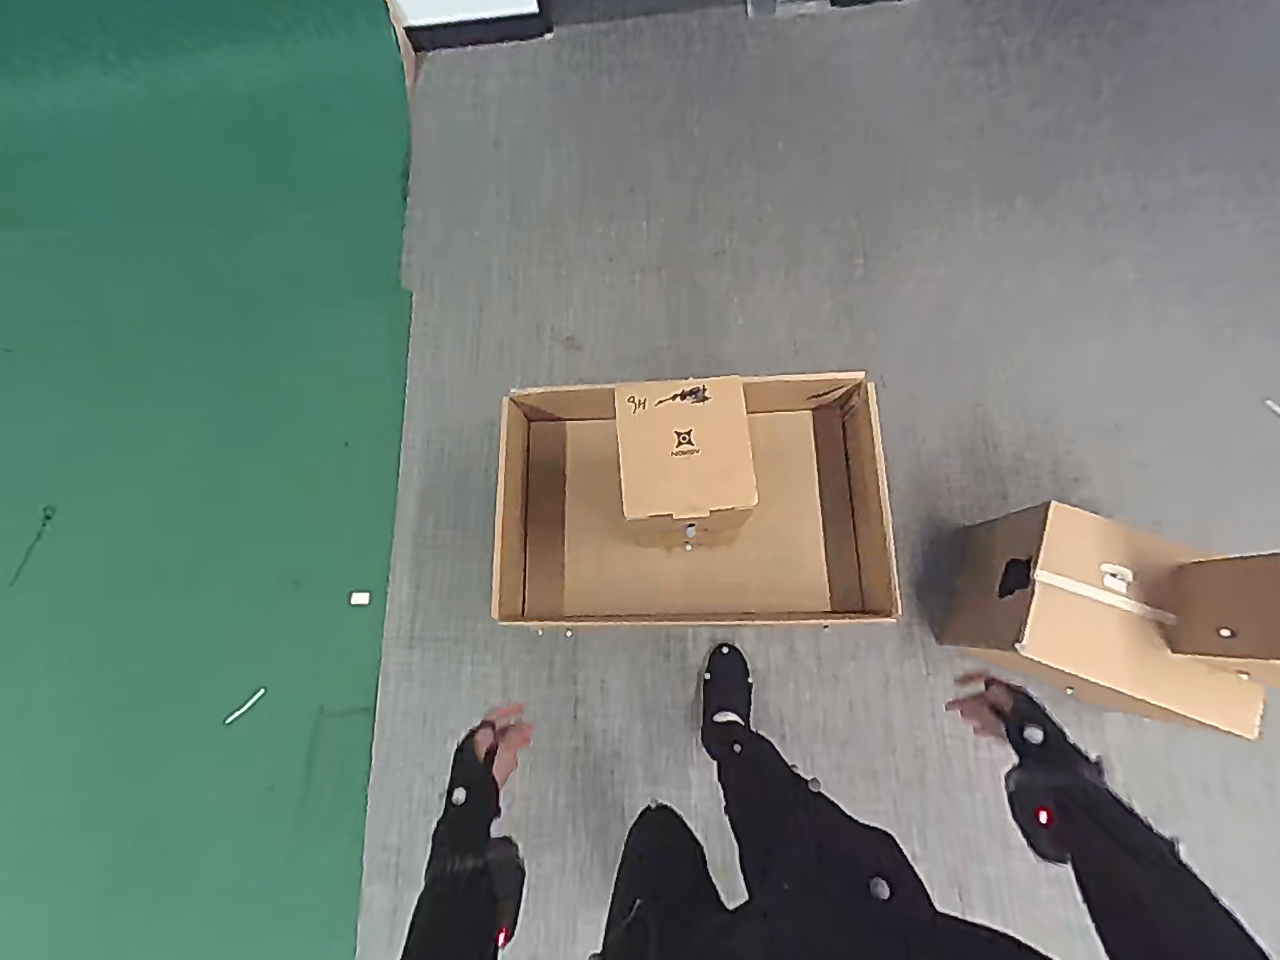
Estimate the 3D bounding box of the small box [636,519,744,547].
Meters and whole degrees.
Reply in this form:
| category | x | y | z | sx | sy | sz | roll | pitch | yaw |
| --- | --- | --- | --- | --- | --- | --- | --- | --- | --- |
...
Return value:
| category | x | y | z | sx | sy | sz | roll | pitch | yaw |
| --- | --- | --- | --- | --- | --- | --- | --- | --- | --- |
| small box | 0.079 | 0.013 | 0.908 | 0.168 | 0.176 | 0.179 | -3 | 76 | 4 |

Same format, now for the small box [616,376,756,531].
| category | x | y | z | sx | sy | sz | roll | pitch | yaw |
| --- | --- | --- | --- | --- | --- | --- | --- | --- | --- |
| small box | 0.062 | -0.025 | 0.750 | 0.168 | 0.176 | 0.179 | -5 | 77 | 3 |

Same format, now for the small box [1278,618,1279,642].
| category | x | y | z | sx | sy | sz | roll | pitch | yaw |
| --- | --- | --- | --- | --- | --- | --- | --- | --- | --- |
| small box | 1.042 | 0.188 | 0.733 | 0.168 | 0.176 | 0.179 | 16 | 78 | 8 |
